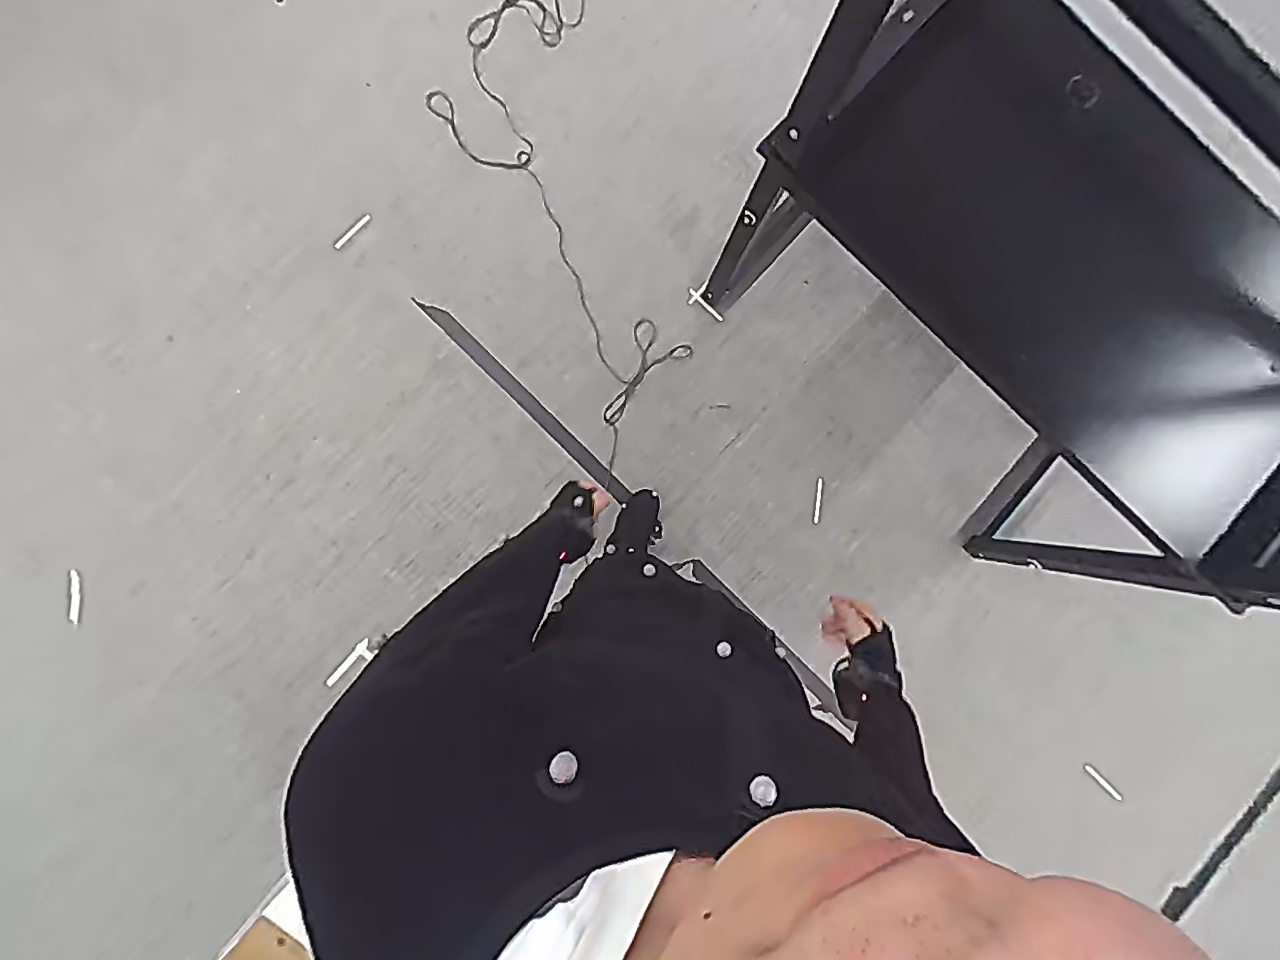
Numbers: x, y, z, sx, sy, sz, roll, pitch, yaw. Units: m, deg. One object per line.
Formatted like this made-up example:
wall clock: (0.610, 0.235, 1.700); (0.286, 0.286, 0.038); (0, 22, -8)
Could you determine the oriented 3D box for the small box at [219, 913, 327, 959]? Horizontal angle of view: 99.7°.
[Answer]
small box: (-0.681, 0.909, 0.918); (0.168, 0.176, 0.179); (41, 87, -4)
